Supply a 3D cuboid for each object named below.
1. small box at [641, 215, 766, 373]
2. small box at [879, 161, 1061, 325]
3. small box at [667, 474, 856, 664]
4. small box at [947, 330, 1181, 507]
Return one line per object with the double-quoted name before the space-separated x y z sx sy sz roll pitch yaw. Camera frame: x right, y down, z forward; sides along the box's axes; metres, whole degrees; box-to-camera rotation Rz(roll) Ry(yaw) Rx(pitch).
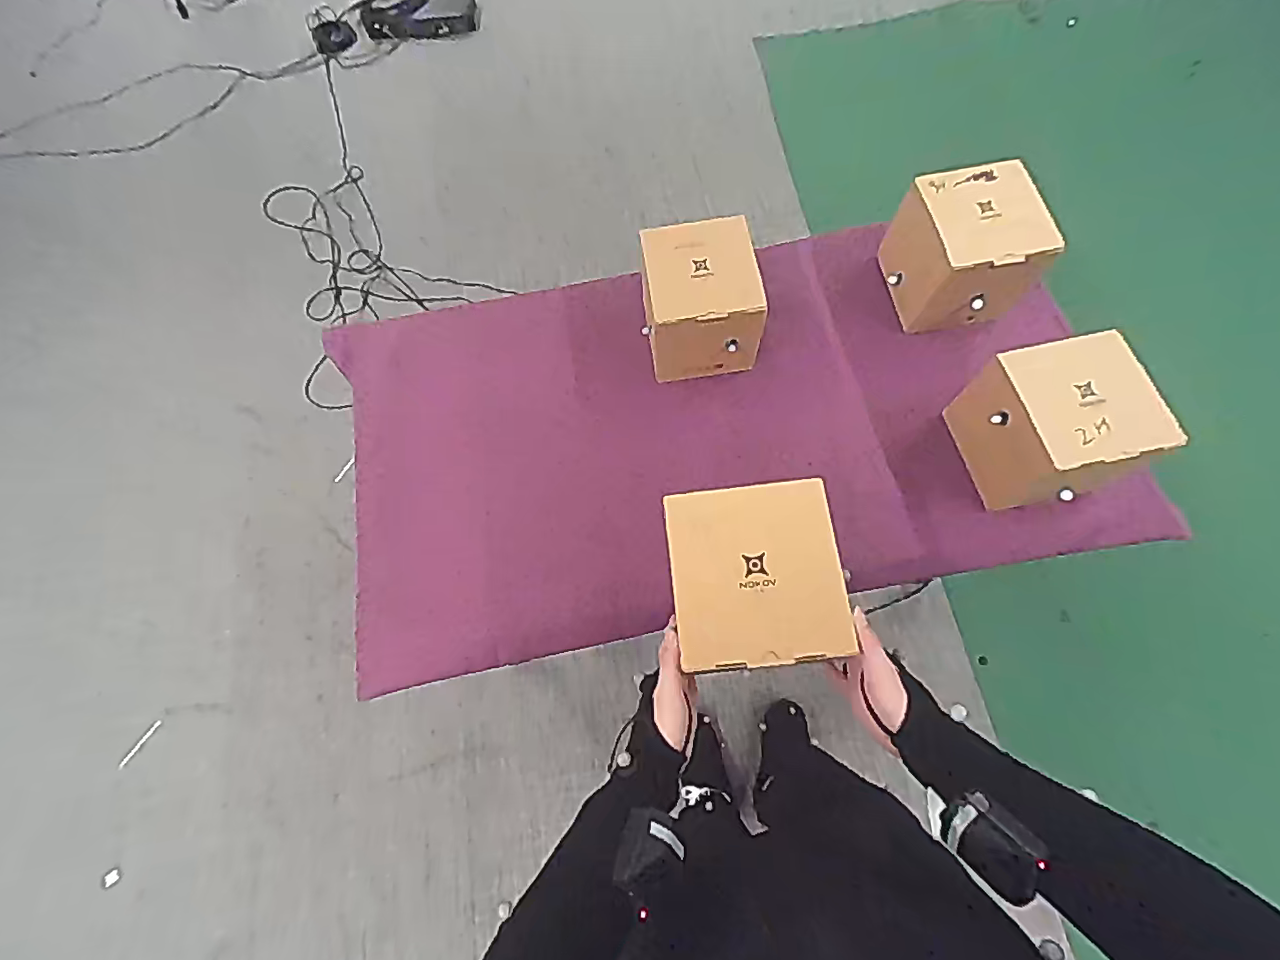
"small box" 0.096 -0.288 0.874 0.168 0.176 0.179 -8 70 0
"small box" 0.516 -0.369 0.875 0.168 0.176 0.179 -10 73 0
"small box" 0.120 0.109 0.608 0.168 0.176 0.179 -6 71 3
"small box" 0.573 -0.079 0.764 0.168 0.176 0.179 -11 69 1
